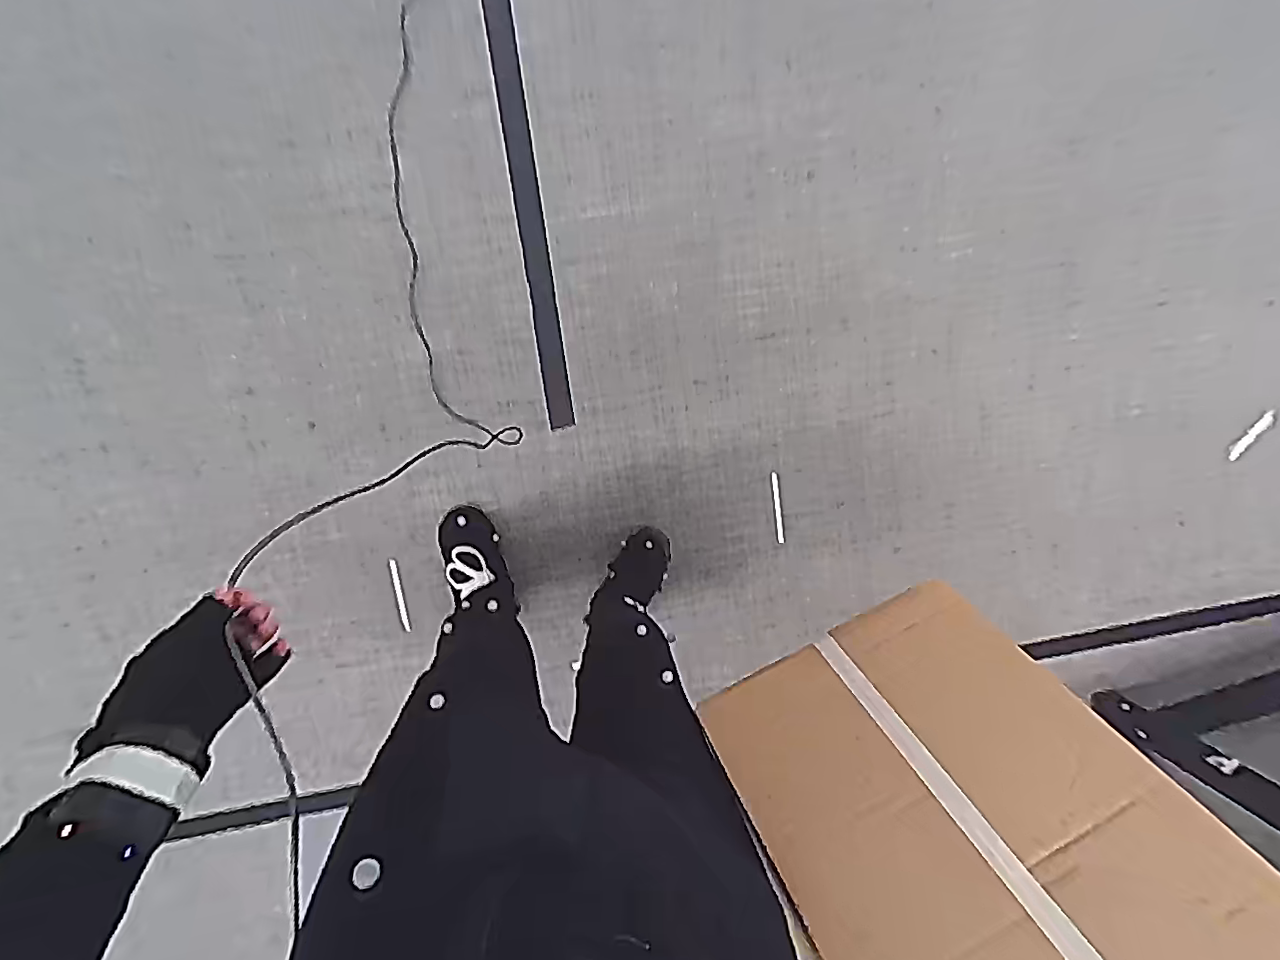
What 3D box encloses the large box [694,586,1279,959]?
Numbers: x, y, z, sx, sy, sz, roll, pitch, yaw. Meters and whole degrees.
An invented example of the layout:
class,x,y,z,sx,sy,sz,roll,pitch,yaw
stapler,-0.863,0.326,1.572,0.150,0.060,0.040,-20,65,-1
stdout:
class,x,y,z,sx,sy,sz,roll,pitch,yaw
large box,0.300,0.394,0.541,0.320,0.408,0.320,-26,131,-7
